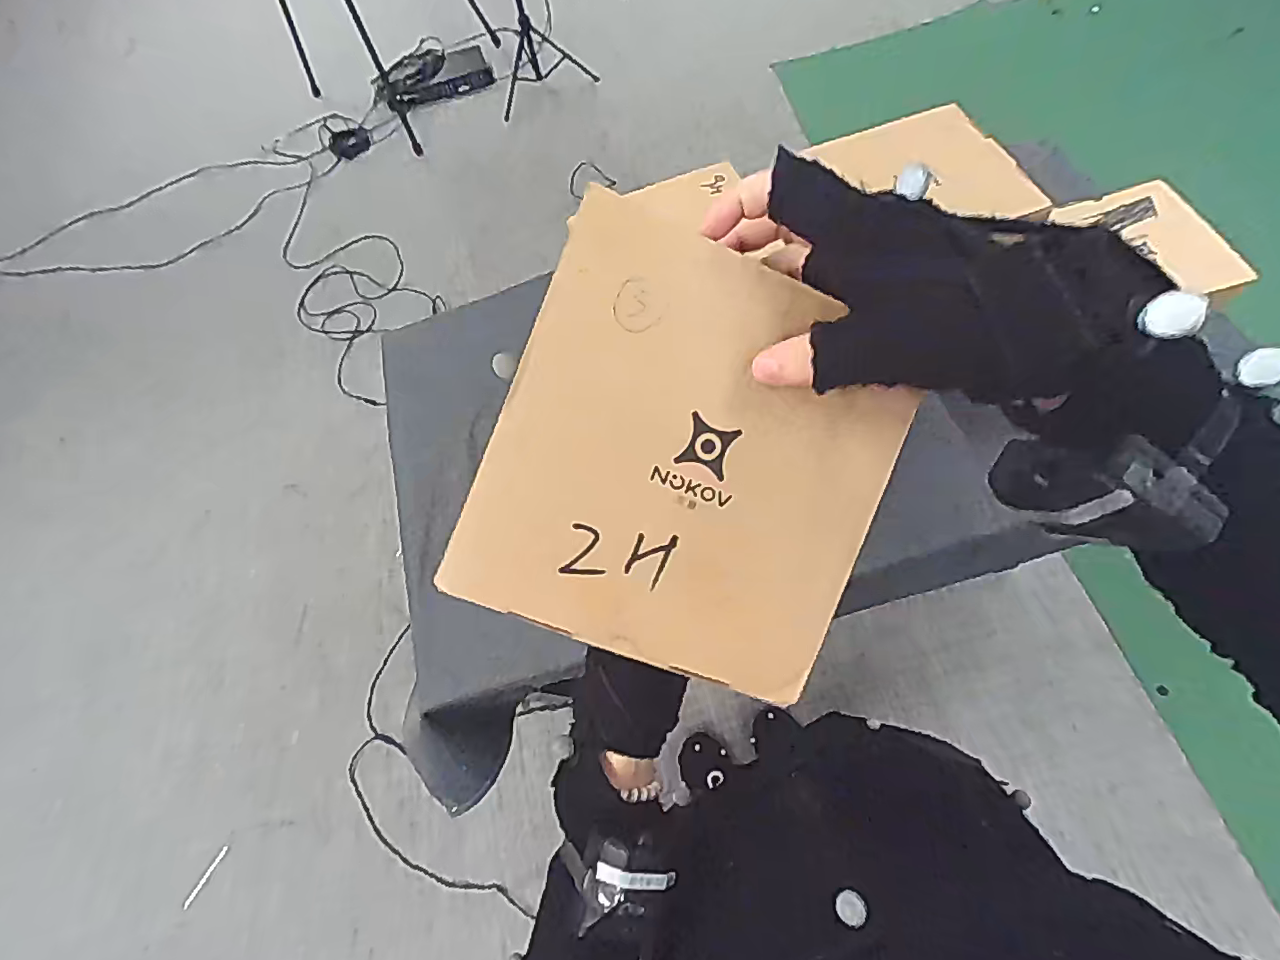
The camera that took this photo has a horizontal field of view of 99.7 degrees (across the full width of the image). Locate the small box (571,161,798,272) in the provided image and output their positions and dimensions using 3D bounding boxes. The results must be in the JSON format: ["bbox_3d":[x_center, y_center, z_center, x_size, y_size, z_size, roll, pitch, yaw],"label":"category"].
[{"bbox_3d":[0.047,-0.191,0.583,0.179,0.176,0.168,-21,66,-1],"label":"small box"}]

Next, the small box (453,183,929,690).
[{"bbox_3d":[0.015,-0.019,0.309,0.168,0.176,0.179,20,92,-9],"label":"small box"}]
